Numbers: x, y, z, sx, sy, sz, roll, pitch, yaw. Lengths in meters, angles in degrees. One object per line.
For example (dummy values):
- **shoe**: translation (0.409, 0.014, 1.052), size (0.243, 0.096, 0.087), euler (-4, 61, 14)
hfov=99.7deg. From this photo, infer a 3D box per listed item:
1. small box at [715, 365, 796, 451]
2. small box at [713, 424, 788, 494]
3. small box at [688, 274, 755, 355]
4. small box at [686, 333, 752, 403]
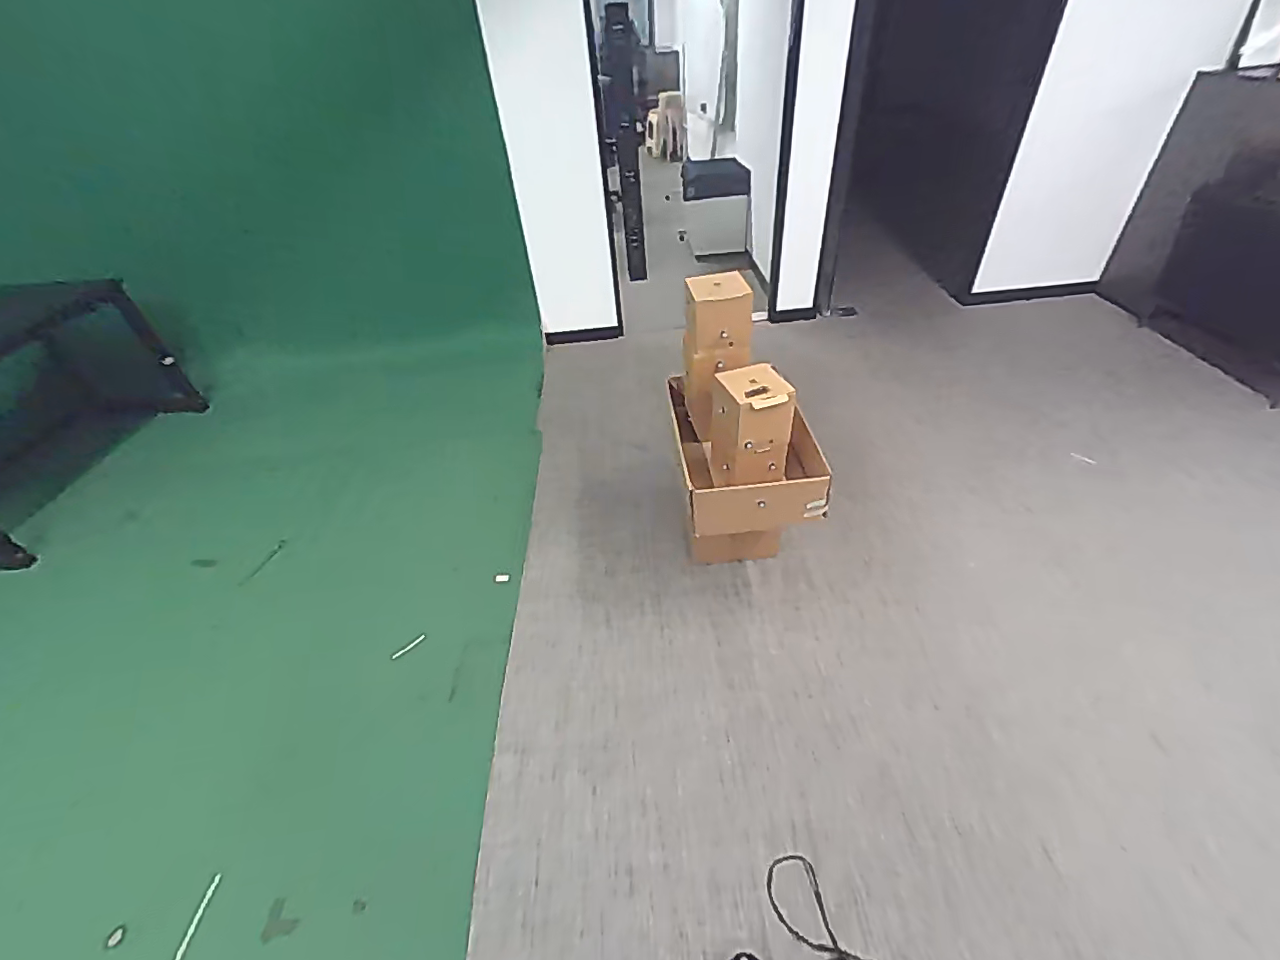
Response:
- **small box**: translation (0.319, -0.196, 1.526), size (0.168, 0.176, 0.179), euler (-14, 41, -11)
- **small box**: translation (0.328, -0.075, 1.636), size (0.168, 0.176, 0.179), euler (-14, 41, -10)
- **small box**: translation (0.239, -0.497, 1.625), size (0.168, 0.176, 0.179), euler (-9, 42, -1)
- **small box**: translation (0.247, -0.366, 1.726), size (0.179, 0.176, 0.168), euler (-10, 42, -3)
